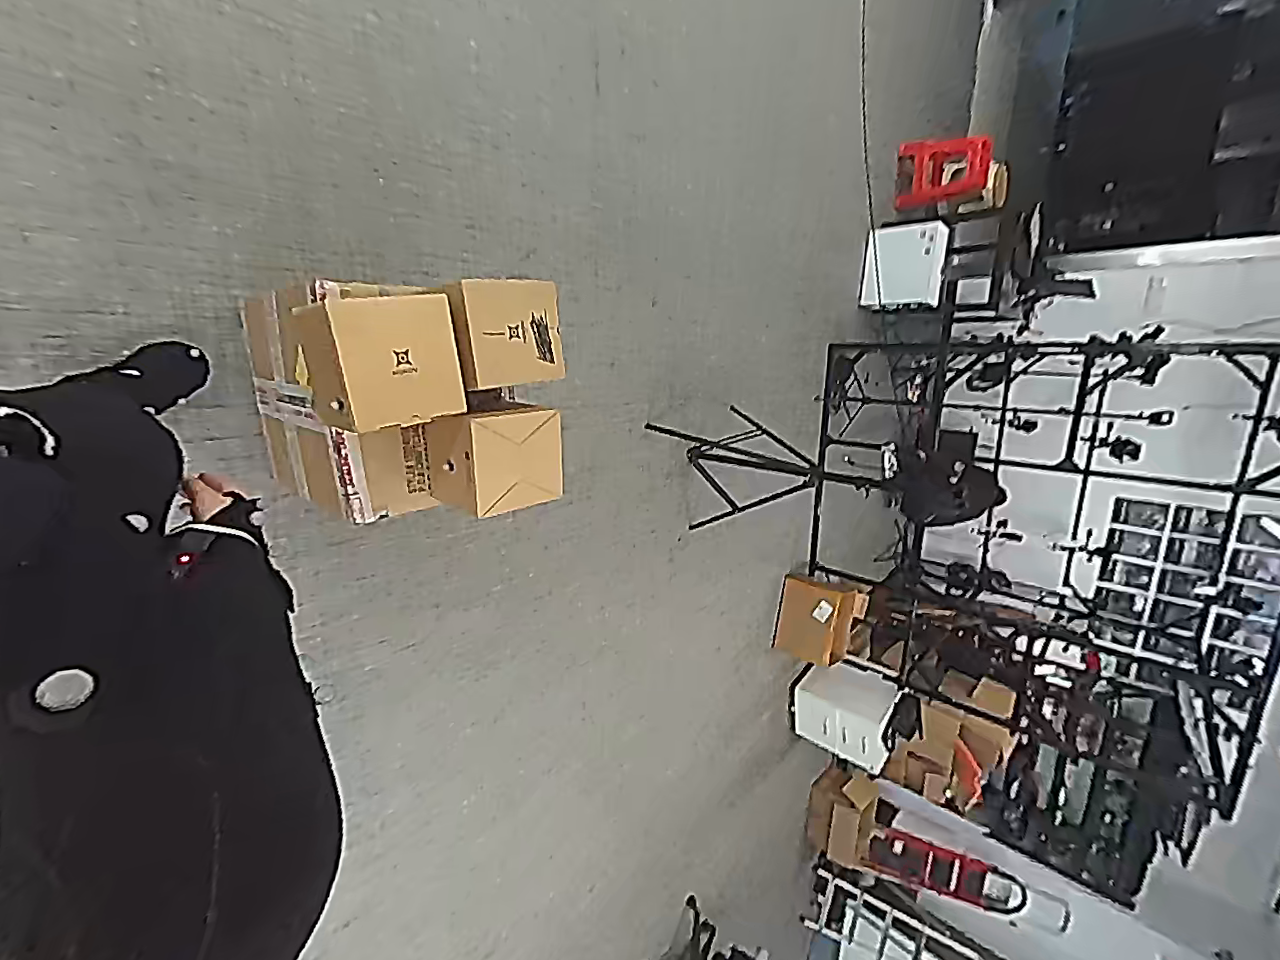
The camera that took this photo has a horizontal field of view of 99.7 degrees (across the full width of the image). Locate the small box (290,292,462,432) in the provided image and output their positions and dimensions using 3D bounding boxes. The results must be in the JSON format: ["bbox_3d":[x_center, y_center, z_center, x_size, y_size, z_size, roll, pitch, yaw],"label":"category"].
[{"bbox_3d":[-0.393,-0.179,0.806,0.168,0.176,0.179,-21,115,-41],"label":"small box"}]

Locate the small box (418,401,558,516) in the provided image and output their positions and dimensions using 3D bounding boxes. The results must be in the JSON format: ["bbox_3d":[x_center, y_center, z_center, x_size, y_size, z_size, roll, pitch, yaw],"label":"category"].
[{"bbox_3d":[-0.269,-0.044,0.965,0.179,0.176,0.168,-16,114,-45],"label":"small box"}]
